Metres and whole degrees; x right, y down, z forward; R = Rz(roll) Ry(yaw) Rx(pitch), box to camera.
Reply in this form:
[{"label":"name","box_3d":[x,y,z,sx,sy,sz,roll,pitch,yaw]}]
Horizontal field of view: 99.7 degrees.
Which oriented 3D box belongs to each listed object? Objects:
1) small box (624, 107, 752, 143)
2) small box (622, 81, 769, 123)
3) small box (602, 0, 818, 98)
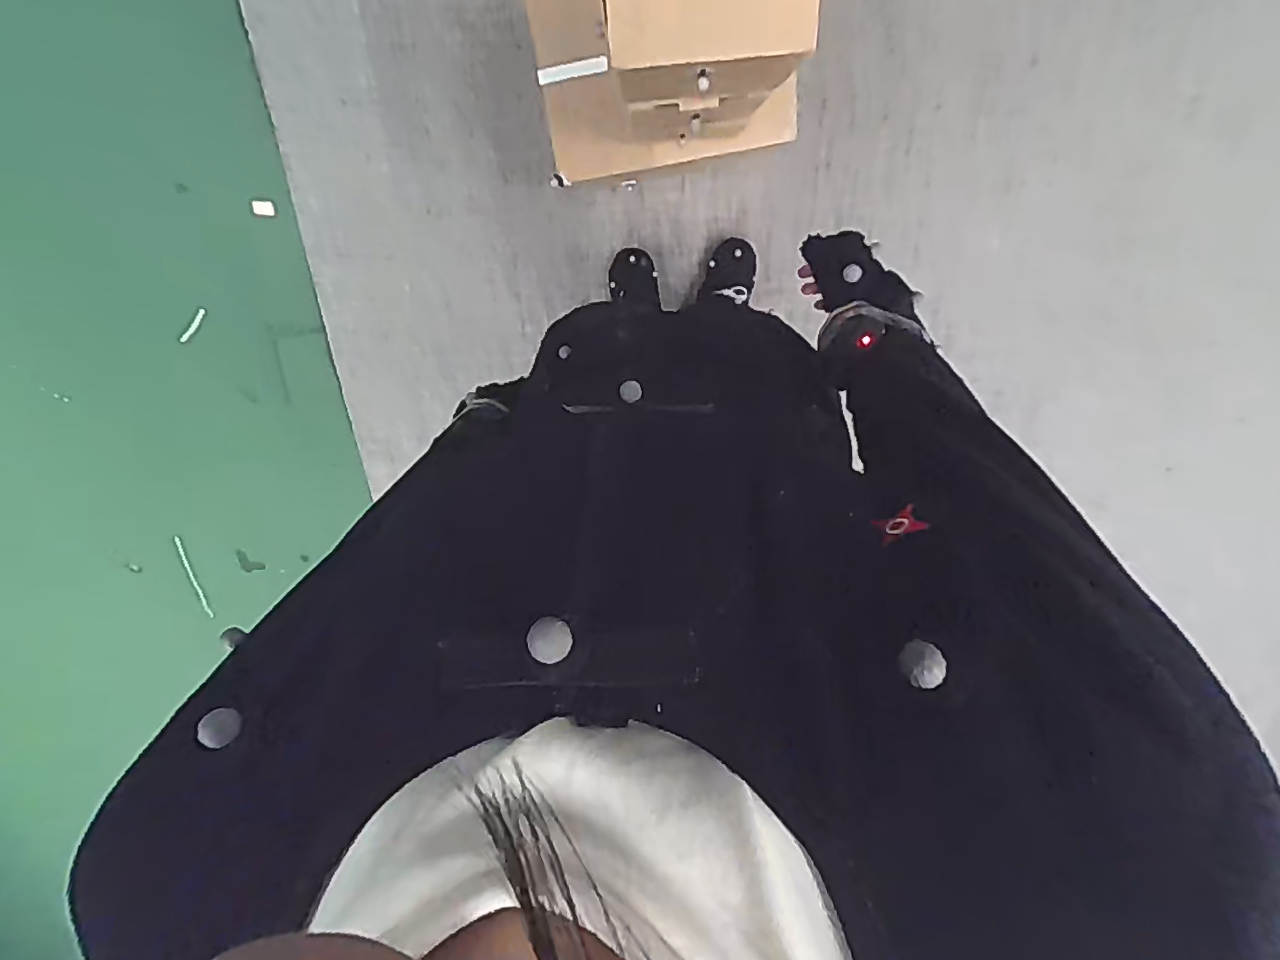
[{"label":"small box","box_3d":[0.065,-0.598,0.784,0.179,0.176,0.168,-2,116,5]},{"label":"small box","box_3d":[0.060,-0.533,0.634,0.168,0.176,0.179,-4,117,4]},{"label":"small box","box_3d":[0.056,-0.462,0.488,0.179,0.176,0.168,-3,117,3]}]
